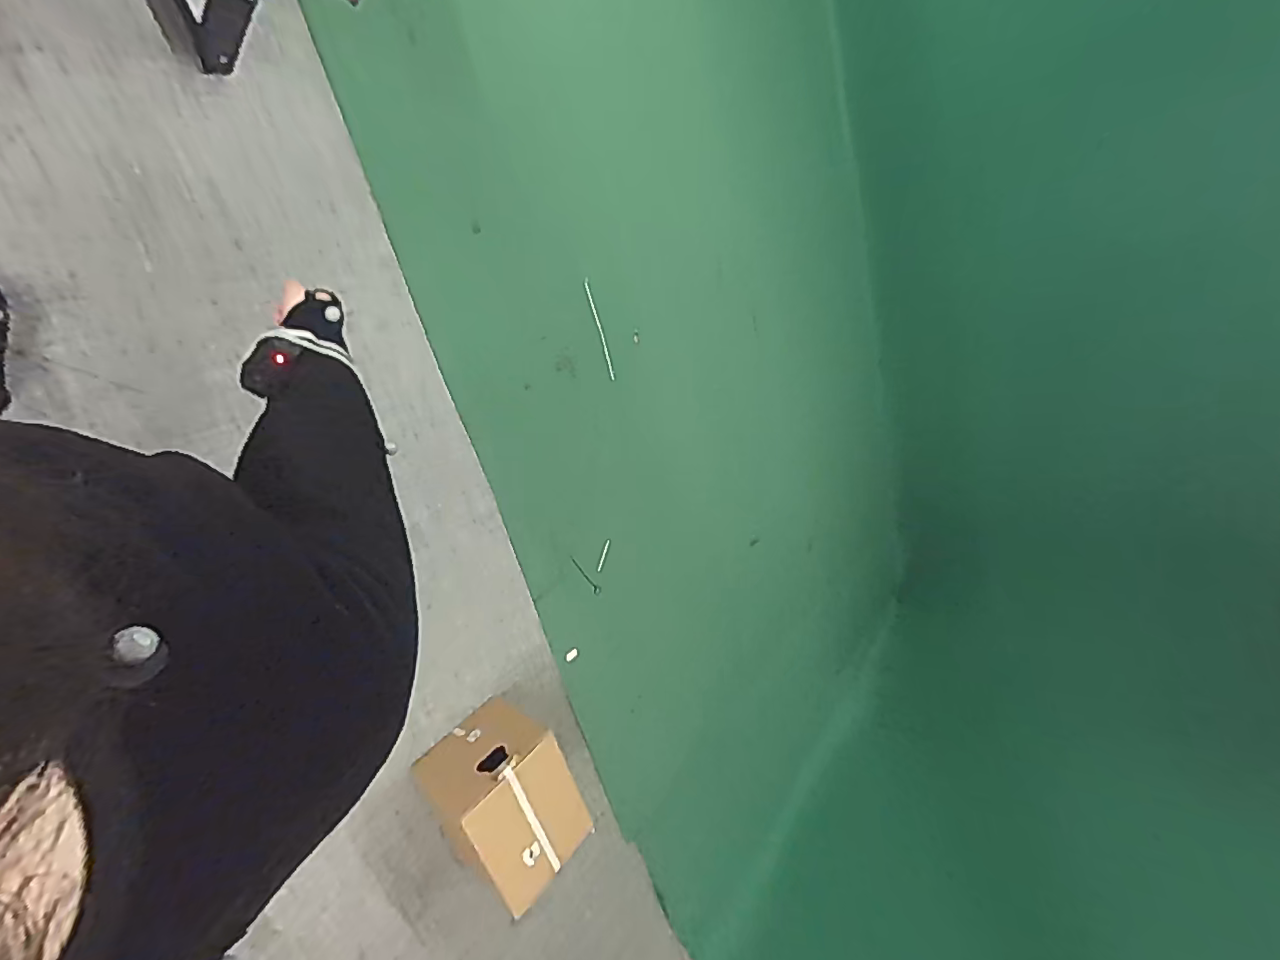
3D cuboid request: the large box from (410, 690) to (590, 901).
[{"bbox_3d":[-0.415,0.924,1.630,0.320,0.320,0.408,-35,118,-39],"label":"large box"}]
